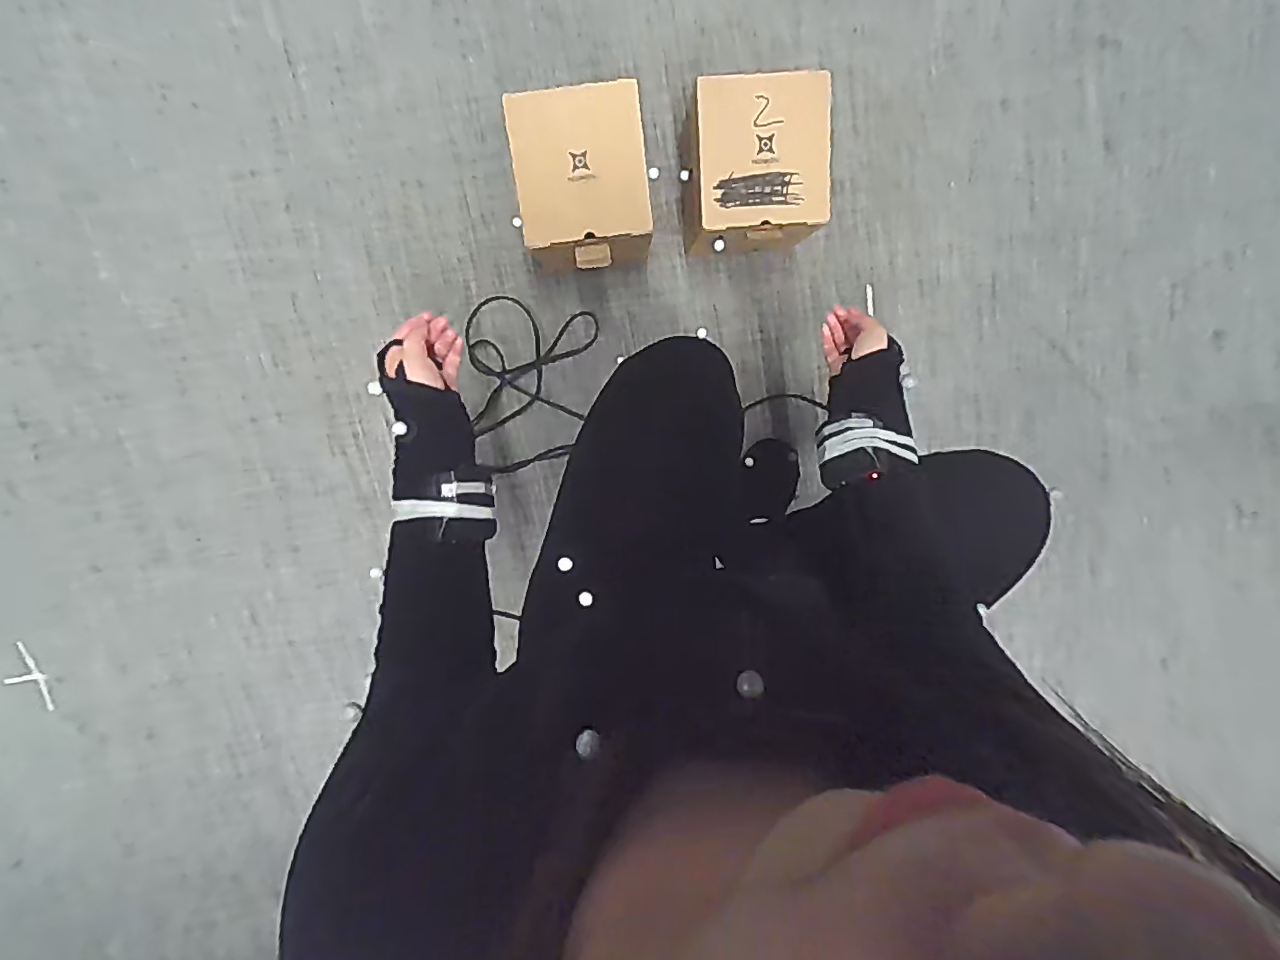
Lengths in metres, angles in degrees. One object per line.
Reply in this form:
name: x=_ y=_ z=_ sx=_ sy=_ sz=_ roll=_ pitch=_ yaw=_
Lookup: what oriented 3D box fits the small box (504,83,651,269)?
small box: x=-0.080 y=-0.404 z=0.748 sx=0.168 sy=0.176 sz=0.179 roll=-8 pitch=103 yaw=0
